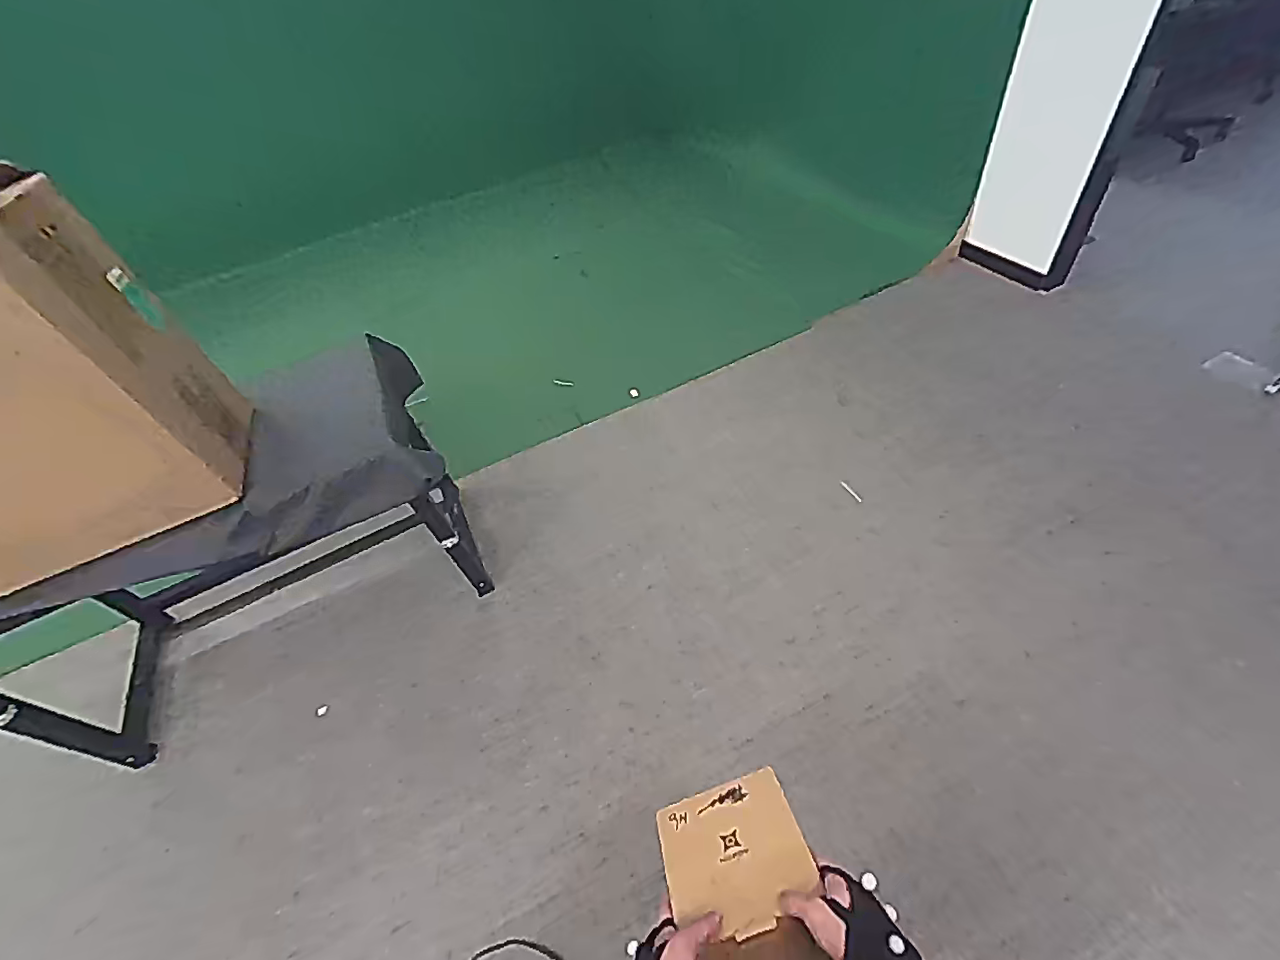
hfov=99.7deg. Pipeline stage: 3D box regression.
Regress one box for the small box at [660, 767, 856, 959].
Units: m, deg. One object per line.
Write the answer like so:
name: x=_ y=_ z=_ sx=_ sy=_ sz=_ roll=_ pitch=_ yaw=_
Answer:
small box: x=0.139 y=0.500 z=0.650 sx=0.168 sy=0.176 sz=0.179 roll=-21 pitch=17 yaw=-1
